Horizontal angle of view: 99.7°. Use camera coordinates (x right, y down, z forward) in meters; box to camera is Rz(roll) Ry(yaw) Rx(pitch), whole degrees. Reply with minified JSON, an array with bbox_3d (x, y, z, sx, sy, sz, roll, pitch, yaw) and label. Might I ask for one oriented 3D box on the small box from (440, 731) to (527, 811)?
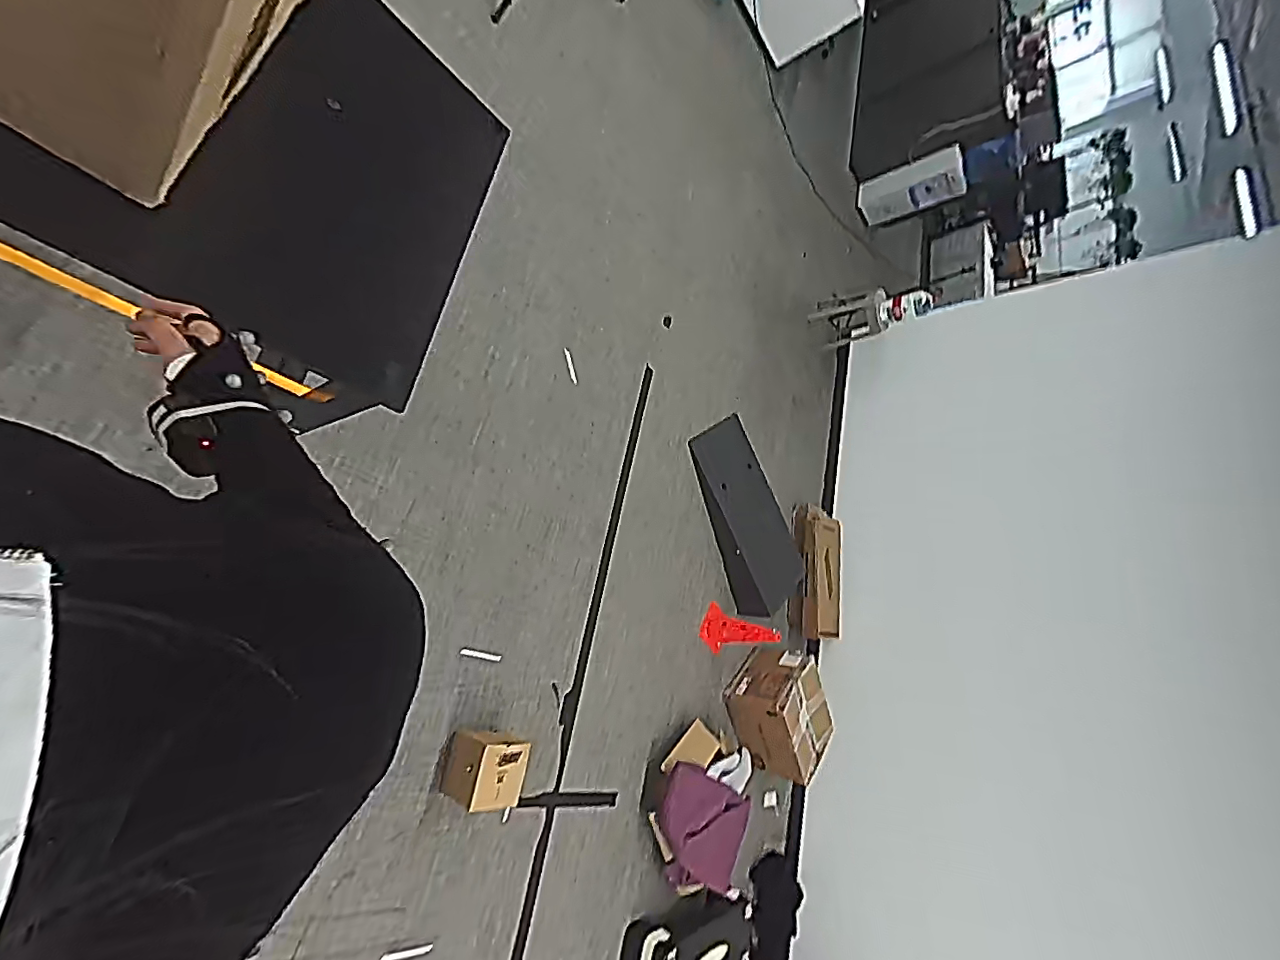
[{"bbox_3d":[-0.468,0.857,1.612,0.168,0.176,0.179,27,68,-44],"label":"small box"}]
